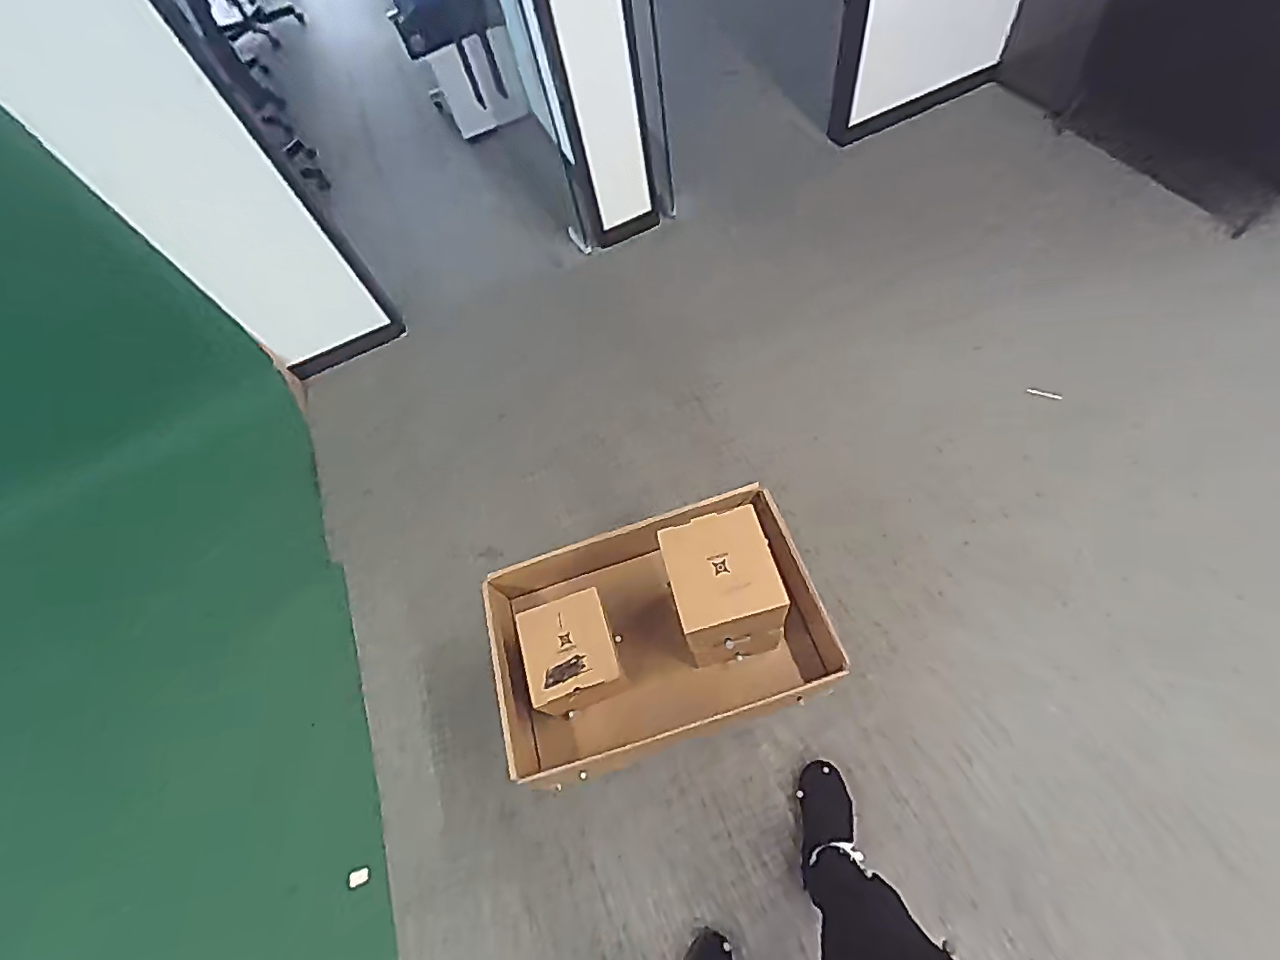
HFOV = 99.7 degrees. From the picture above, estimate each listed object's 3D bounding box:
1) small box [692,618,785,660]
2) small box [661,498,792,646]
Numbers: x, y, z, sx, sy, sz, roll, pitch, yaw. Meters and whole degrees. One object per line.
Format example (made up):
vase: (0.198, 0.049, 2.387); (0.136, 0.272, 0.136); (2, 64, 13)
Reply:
small box: (0.168, 0.232, 1.047); (0.168, 0.176, 0.179); (-15, 61, 2)
small box: (0.139, 0.158, 0.904); (0.168, 0.176, 0.179); (-16, 61, 2)
